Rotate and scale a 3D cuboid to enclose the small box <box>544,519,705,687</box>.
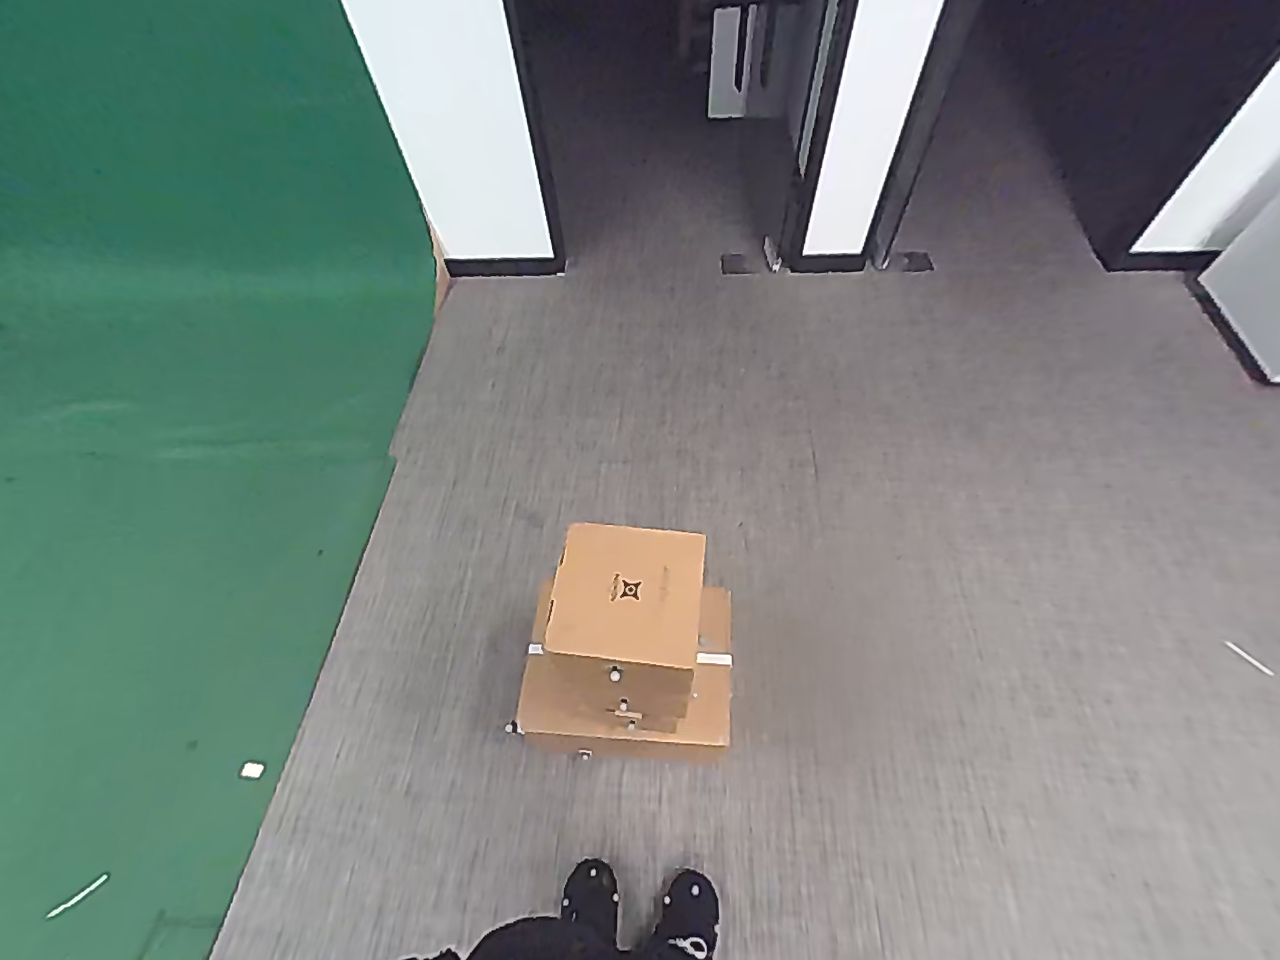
[{"bbox_3d":[-0.009,0.166,0.707,0.179,0.176,0.168,4,60,6],"label":"small box"}]

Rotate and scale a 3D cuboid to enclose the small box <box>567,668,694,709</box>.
[{"bbox_3d":[0.000,0.252,0.843,0.179,0.176,0.168,3,58,8],"label":"small box"}]

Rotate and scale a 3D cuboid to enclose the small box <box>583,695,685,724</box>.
[{"bbox_3d":[0.004,0.336,0.985,0.168,0.176,0.179,4,59,7],"label":"small box"}]
